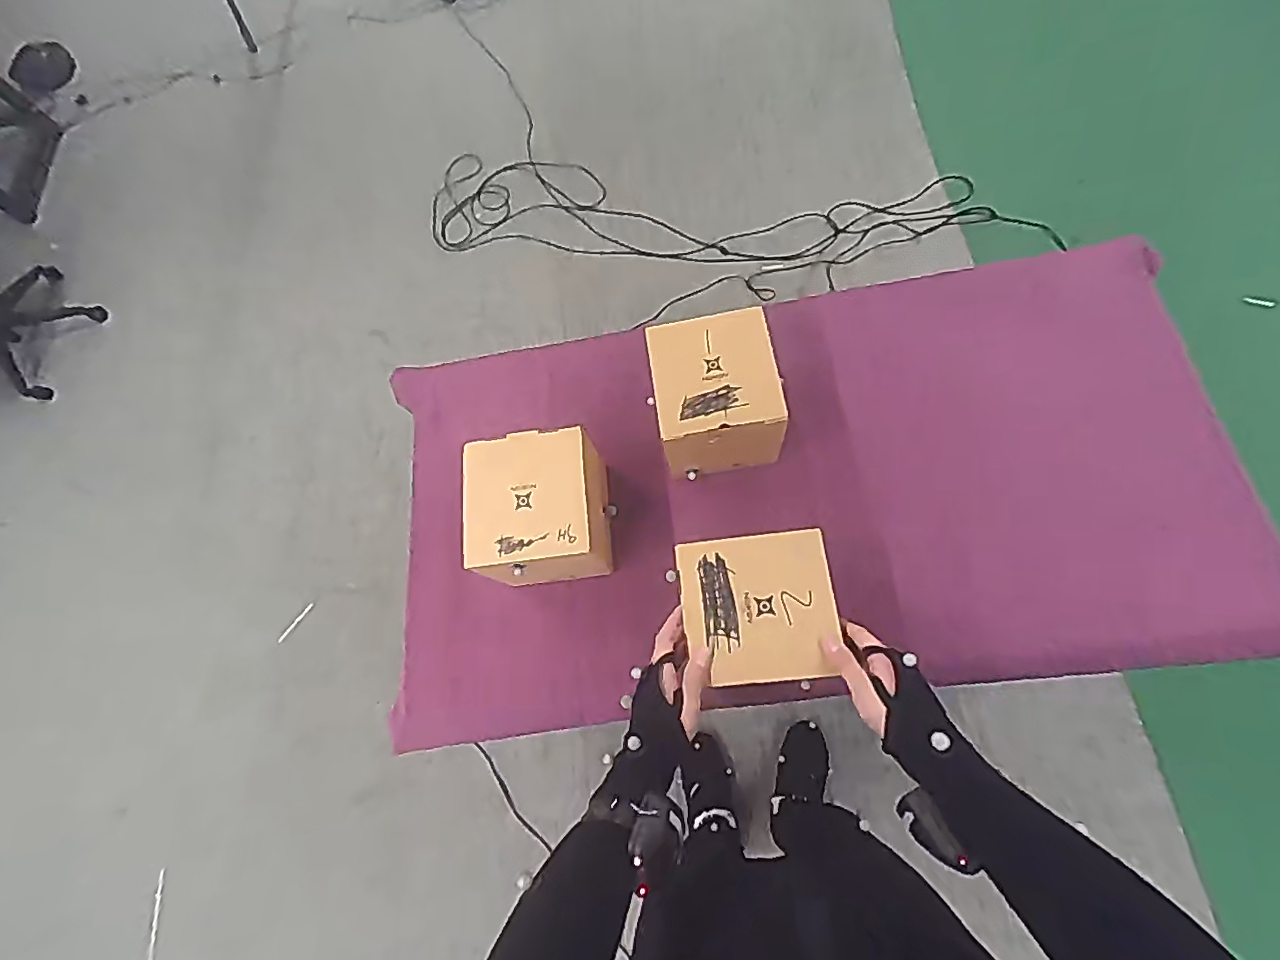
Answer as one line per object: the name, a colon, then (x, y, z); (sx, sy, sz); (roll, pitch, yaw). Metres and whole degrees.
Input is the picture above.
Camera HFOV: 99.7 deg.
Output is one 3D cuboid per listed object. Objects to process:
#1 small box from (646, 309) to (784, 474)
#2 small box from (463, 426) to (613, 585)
small box: (0.109, -0.118, 0.799); (0.168, 0.176, 0.179); (-9, 70, 5)
small box: (-0.138, 0.044, 0.778); (0.168, 0.176, 0.179); (-8, 70, 7)
